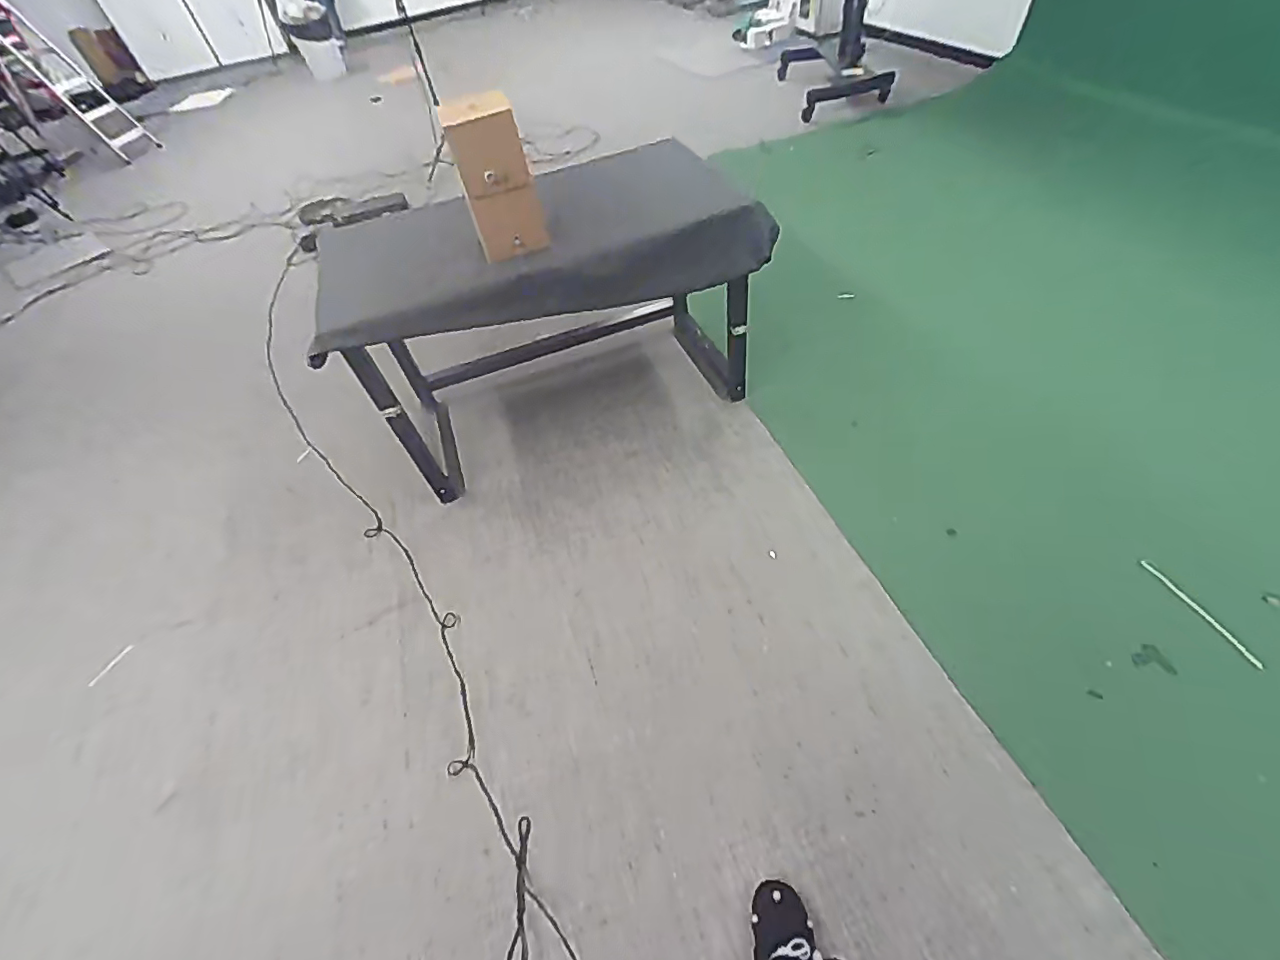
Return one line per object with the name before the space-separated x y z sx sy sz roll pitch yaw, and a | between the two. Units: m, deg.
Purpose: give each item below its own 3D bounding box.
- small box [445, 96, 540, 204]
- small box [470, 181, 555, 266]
small box | -0.362 -0.812 1.335 0.168 0.176 0.179 -21 51 -5
small box | -0.338 -0.709 1.459 0.179 0.176 0.168 -19 49 -7
